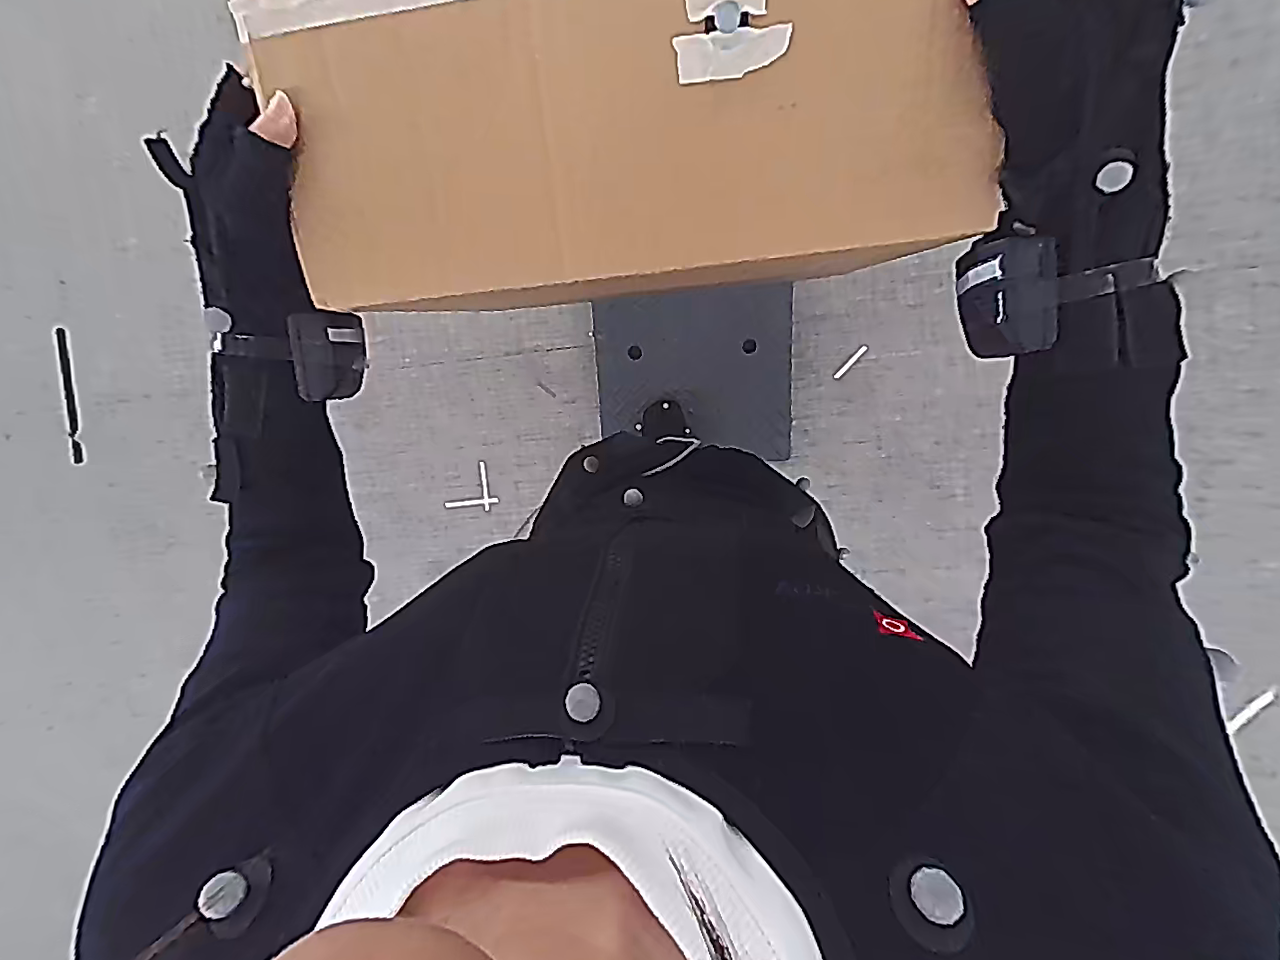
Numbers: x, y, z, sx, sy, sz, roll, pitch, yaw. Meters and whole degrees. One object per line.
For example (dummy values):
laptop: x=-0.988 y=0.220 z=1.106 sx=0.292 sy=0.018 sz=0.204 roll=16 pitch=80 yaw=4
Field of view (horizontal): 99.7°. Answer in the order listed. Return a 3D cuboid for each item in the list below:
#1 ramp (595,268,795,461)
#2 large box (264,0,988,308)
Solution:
ramp: x=0.126 y=-0.539 z=1.302 sx=0.509 sy=0.206 sz=0.991 roll=-4 pitch=95 yaw=6
large box: x=-0.008 y=-0.323 z=0.431 sx=0.408 sy=0.320 sz=0.320 roll=-4 pitch=107 yaw=8
